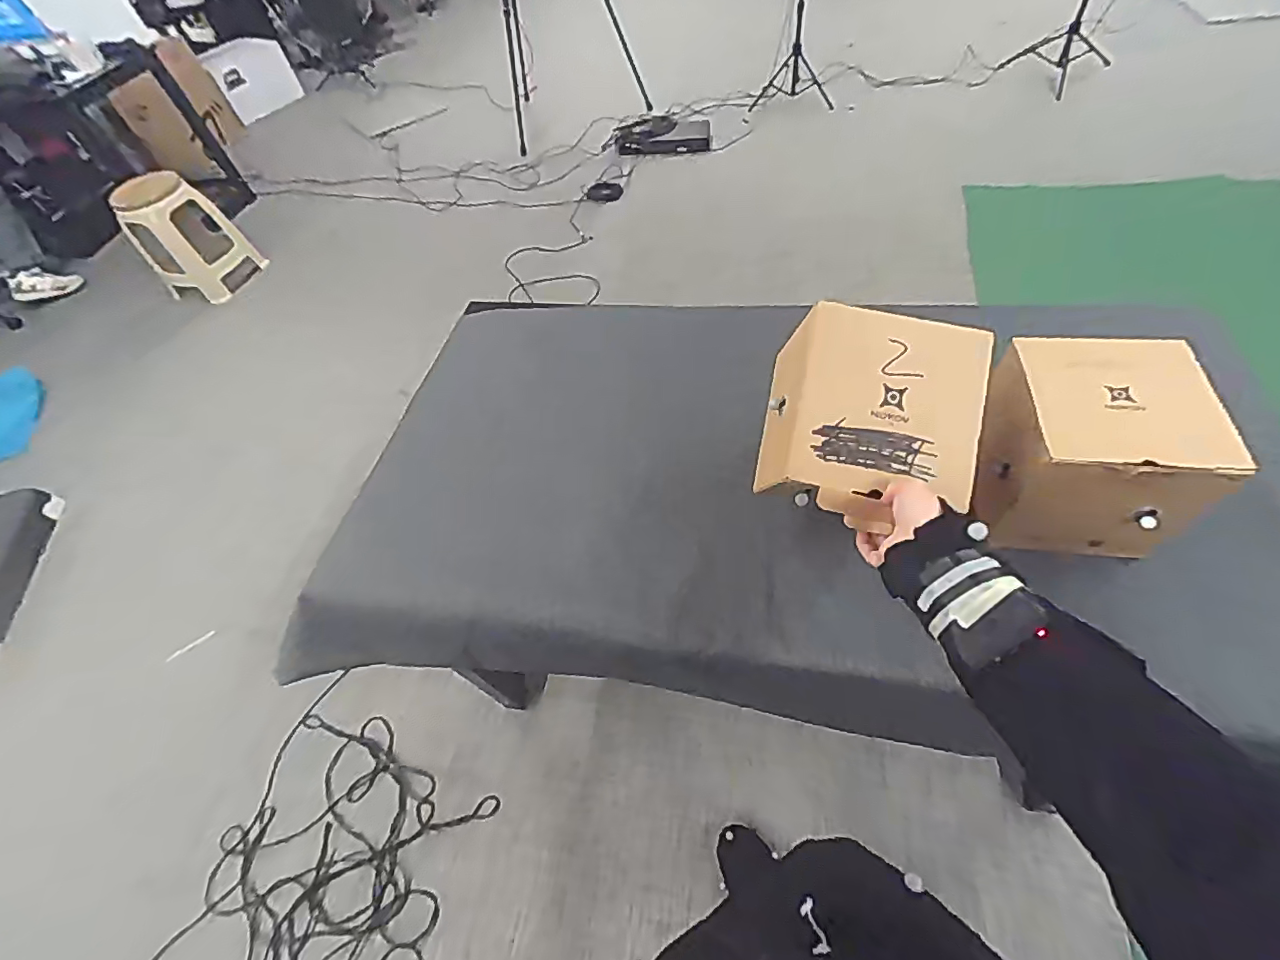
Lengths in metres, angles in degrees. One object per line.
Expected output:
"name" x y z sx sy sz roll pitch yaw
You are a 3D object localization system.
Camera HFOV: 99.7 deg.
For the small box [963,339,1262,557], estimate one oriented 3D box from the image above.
"small box" 0.483 -0.032 0.594 0.168 0.176 0.179 4 54 10
